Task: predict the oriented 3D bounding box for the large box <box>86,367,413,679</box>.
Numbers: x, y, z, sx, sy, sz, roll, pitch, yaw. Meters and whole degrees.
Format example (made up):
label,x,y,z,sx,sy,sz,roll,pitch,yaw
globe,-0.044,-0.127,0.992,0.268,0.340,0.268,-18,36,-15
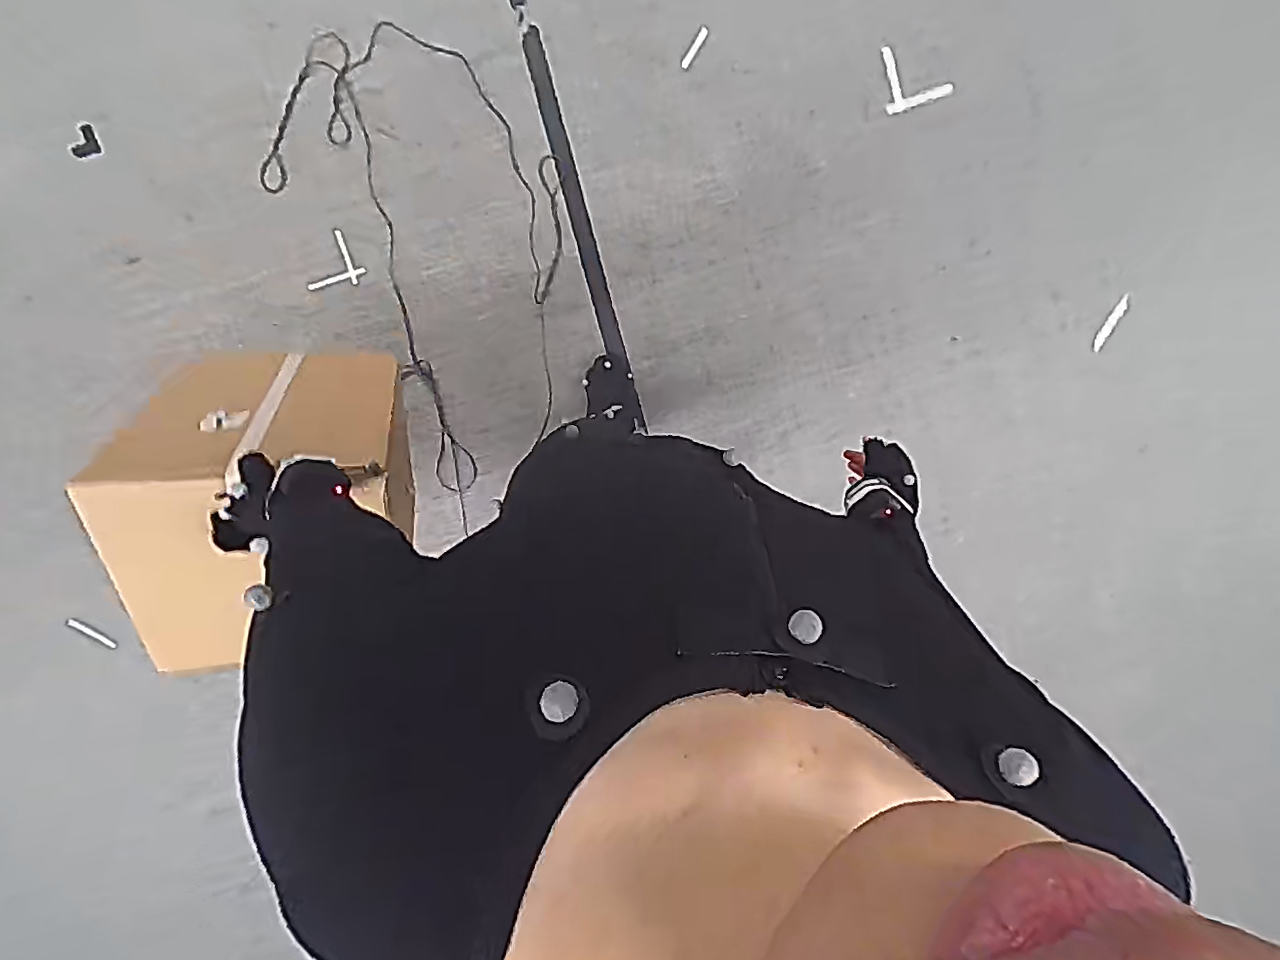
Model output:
label,x,y,z,sx,sy,sz,roll,pitch,yaw
large box,-0.547,0.037,0.872,0.320,0.408,0.320,-6,124,-19
